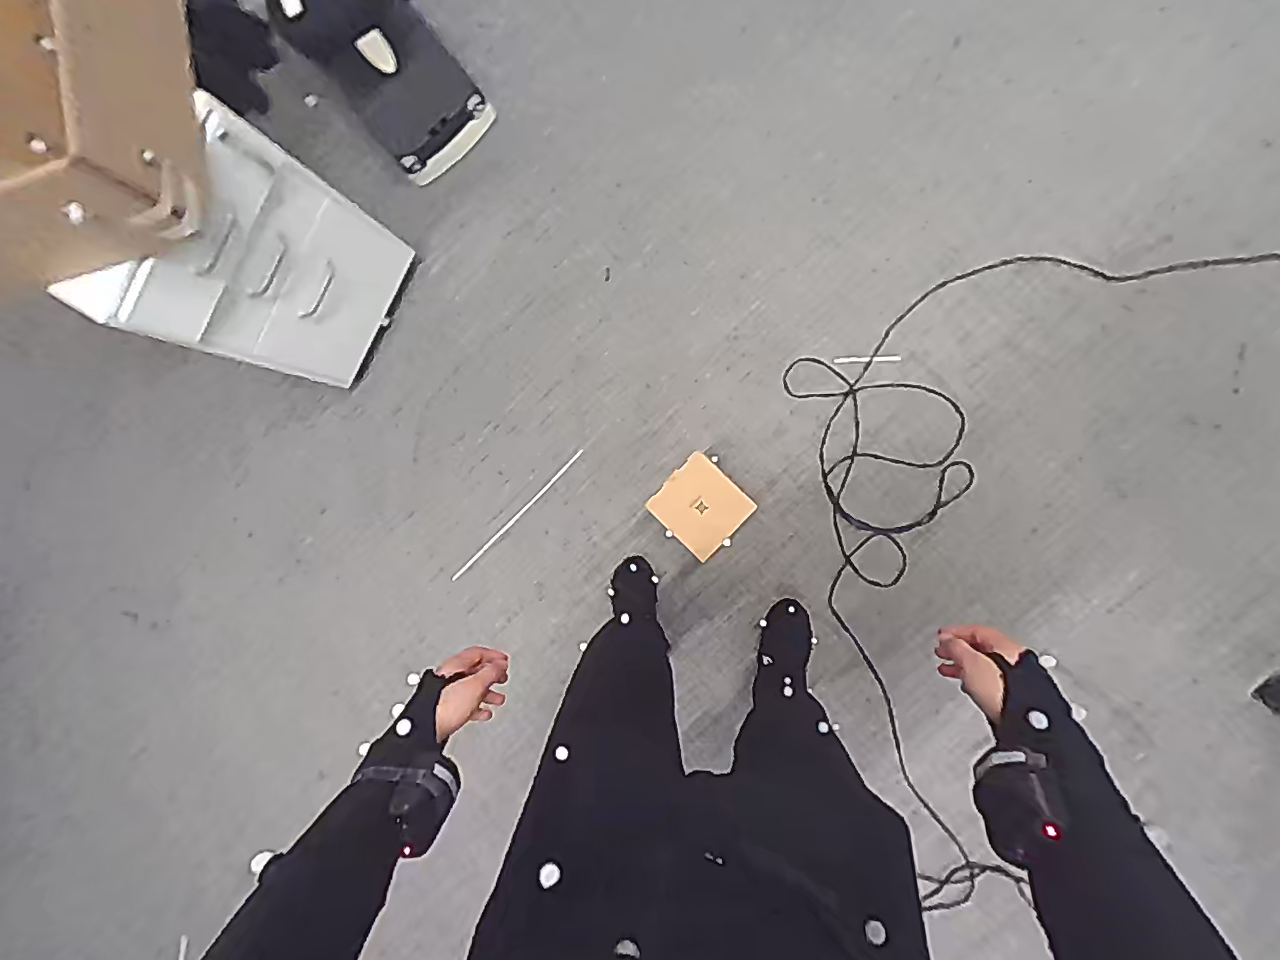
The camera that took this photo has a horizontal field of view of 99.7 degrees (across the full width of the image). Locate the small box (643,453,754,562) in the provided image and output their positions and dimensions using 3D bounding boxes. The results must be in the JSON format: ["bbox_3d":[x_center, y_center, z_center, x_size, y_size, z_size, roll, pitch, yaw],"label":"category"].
[{"bbox_3d":[0.136,0.057,1.208,0.179,0.176,0.168,44,96,9],"label":"small box"}]
